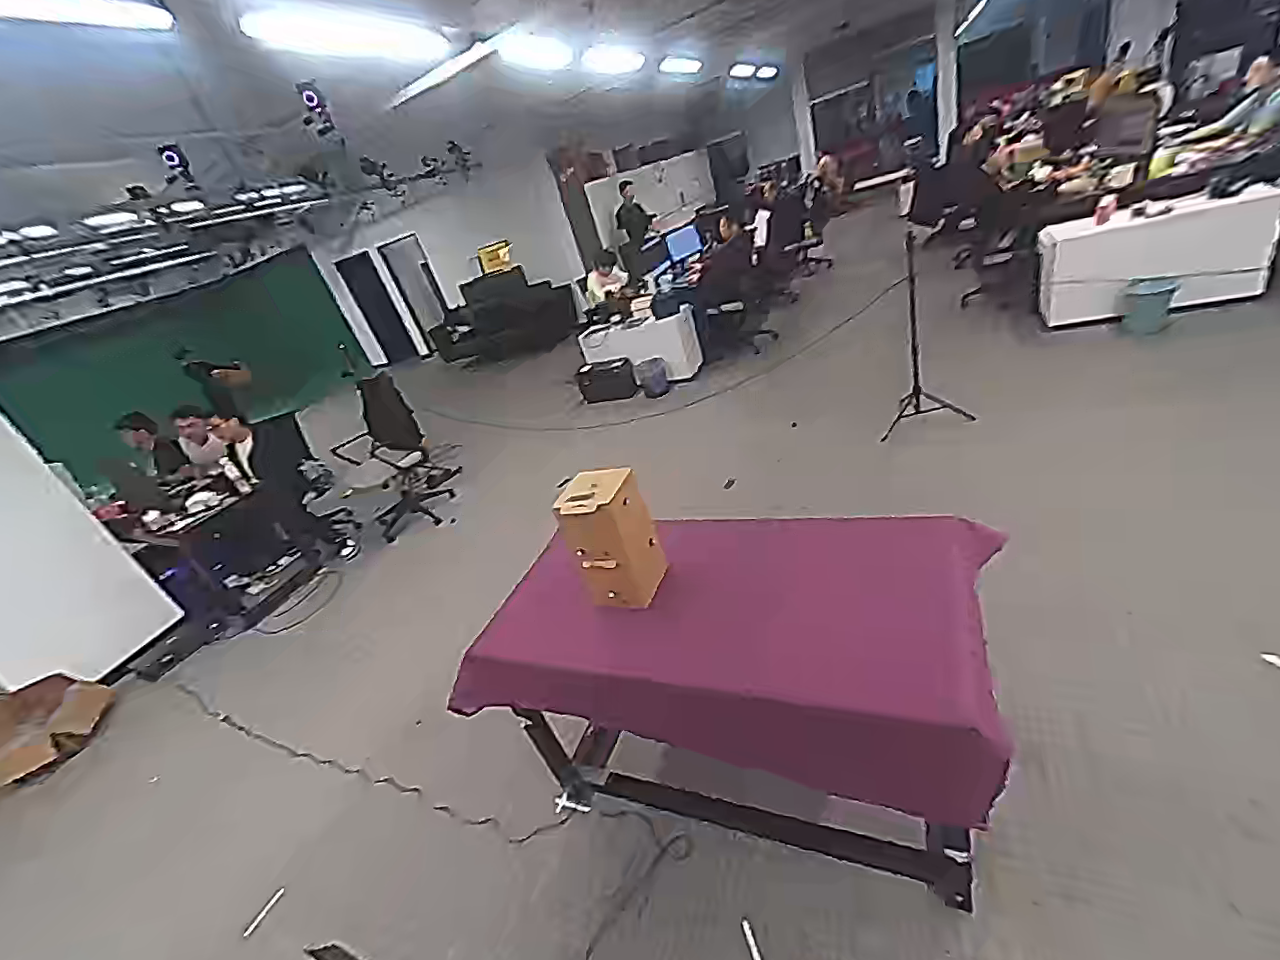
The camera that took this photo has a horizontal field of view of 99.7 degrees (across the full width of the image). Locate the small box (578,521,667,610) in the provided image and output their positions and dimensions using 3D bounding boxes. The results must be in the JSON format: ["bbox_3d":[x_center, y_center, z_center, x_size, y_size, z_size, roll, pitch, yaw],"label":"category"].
[{"bbox_3d":[-0.038,0.229,1.481,0.168,0.176,0.179,-4,32,29],"label":"small box"}]

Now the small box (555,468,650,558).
[{"bbox_3d":[-0.089,0.091,1.406,0.168,0.176,0.179,-5,30,25],"label":"small box"}]
